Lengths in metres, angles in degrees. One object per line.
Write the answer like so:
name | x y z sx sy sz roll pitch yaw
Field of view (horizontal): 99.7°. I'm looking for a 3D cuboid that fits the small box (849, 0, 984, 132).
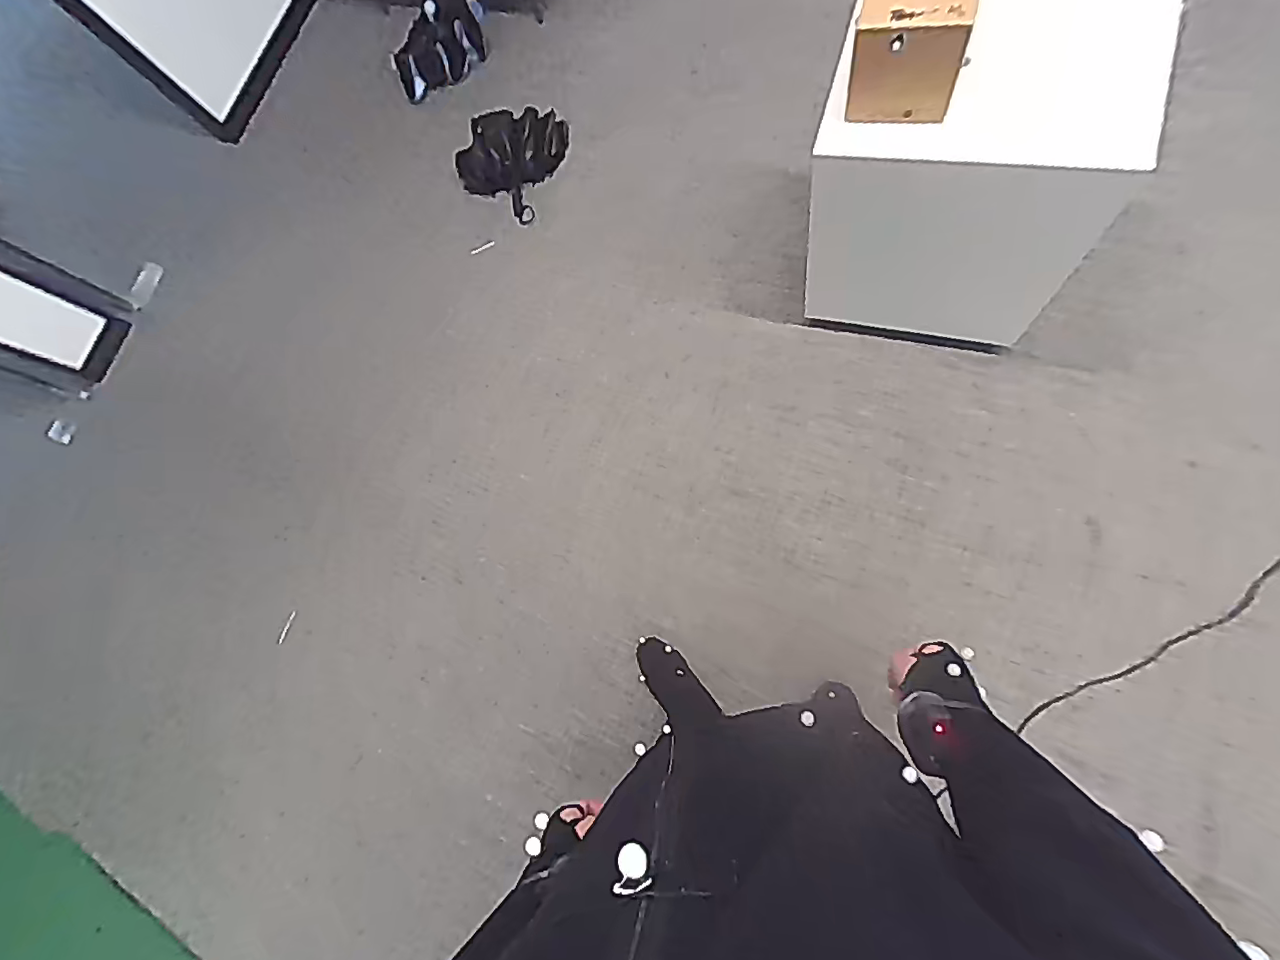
small box | 0.449 -0.715 0.886 0.168 0.176 0.179 13 78 18
